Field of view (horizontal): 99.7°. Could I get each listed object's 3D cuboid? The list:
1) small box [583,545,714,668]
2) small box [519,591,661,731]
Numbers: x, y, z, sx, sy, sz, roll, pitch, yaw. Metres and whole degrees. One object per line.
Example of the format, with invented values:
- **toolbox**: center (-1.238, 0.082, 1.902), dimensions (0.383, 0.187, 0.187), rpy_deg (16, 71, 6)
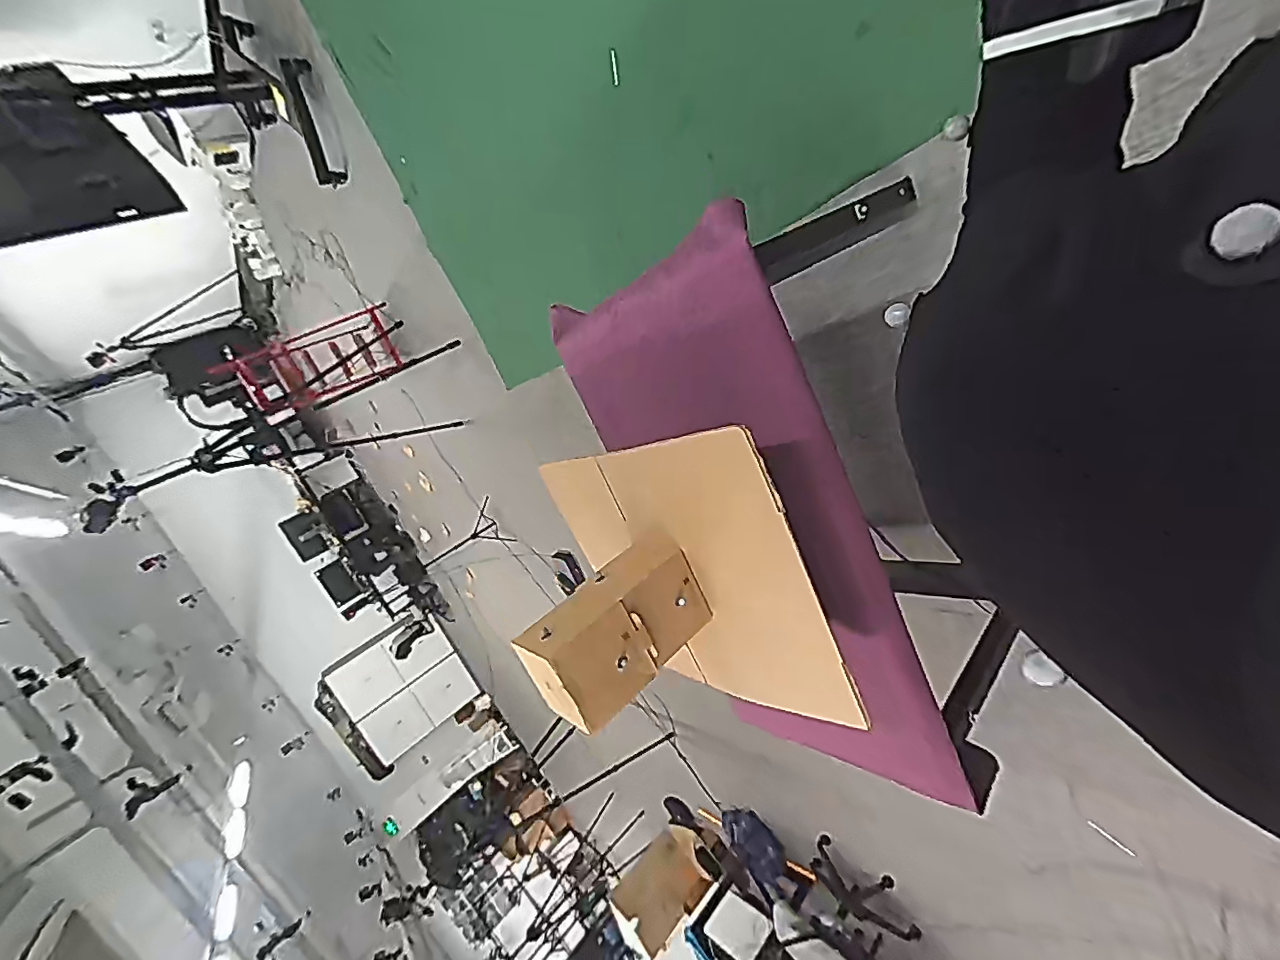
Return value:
- **small box**: center (0.019, 0.247, 1.106), dimensions (0.179, 0.176, 0.168), rpy_deg (-4, 116, 55)
- **small box**: center (-0.093, 0.326, 1.017), dimensions (0.179, 0.176, 0.168), rpy_deg (-8, 113, 56)
